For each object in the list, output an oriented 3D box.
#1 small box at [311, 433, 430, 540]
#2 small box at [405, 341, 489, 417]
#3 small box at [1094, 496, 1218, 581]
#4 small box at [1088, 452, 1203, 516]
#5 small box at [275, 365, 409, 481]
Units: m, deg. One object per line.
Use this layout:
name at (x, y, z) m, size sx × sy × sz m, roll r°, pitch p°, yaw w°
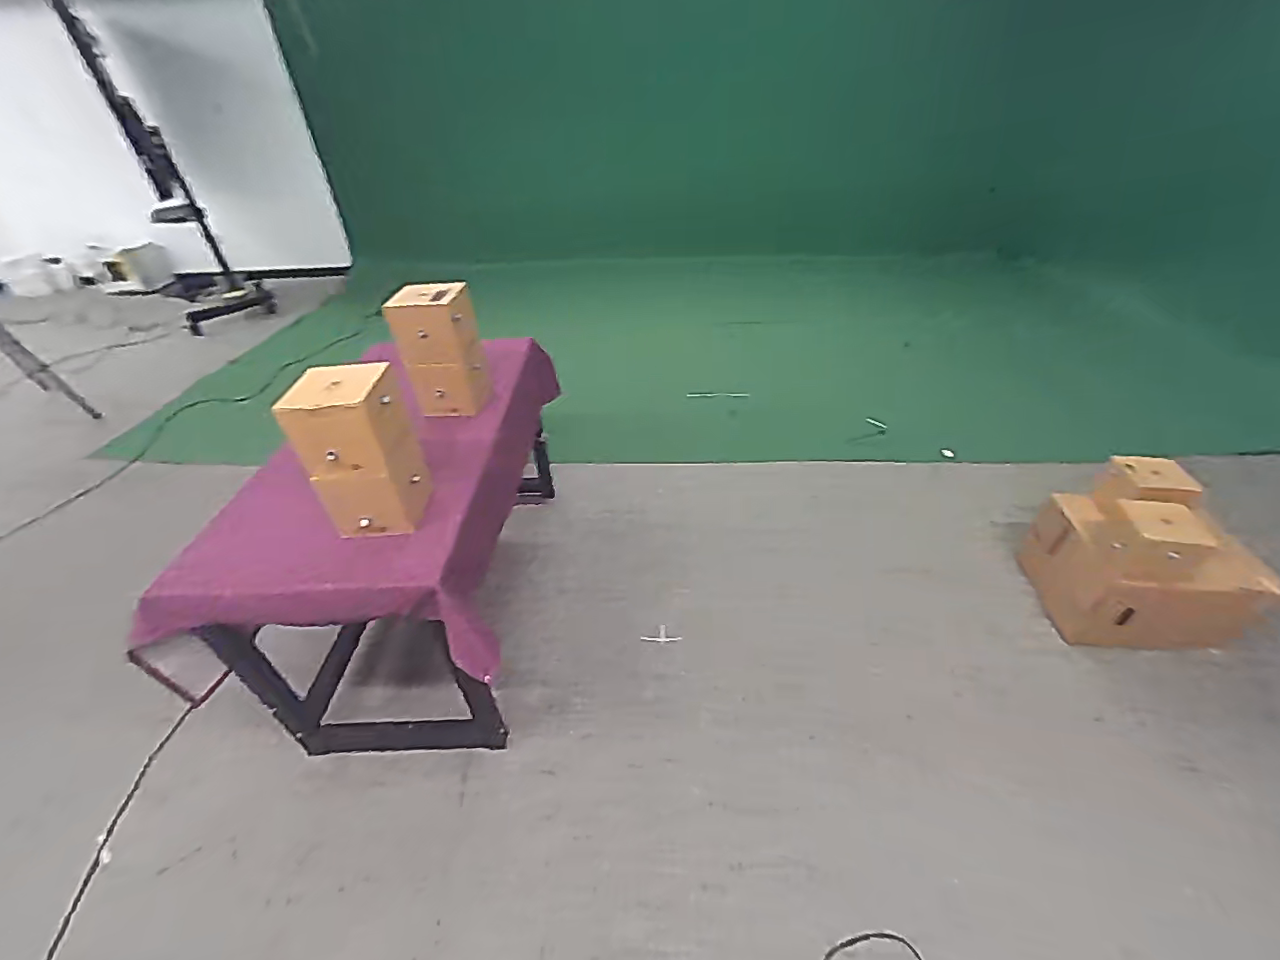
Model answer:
small box at (-0.588, 0.013, 1.211) m, size 0.168 × 0.176 × 0.179 m, roll -4°, pitch 38°, yaw 0°
small box at (-0.563, -0.299, 1.609) m, size 0.168 × 0.176 × 0.179 m, roll 0°, pitch 38°, yaw 5°
small box at (1.436, 0.167, 1.527) m, size 0.179 × 0.176 × 0.168 m, roll 5°, pitch 40°, yaw 9°
small box at (1.567, 0.034, 1.690) m, size 0.179 × 0.176 × 0.168 m, roll 5°, pitch 38°, yaw 8°
small box at (-0.598, -0.118, 1.115) m, size 0.168 × 0.176 × 0.179 m, roll -5°, pitch 39°, yaw -1°
